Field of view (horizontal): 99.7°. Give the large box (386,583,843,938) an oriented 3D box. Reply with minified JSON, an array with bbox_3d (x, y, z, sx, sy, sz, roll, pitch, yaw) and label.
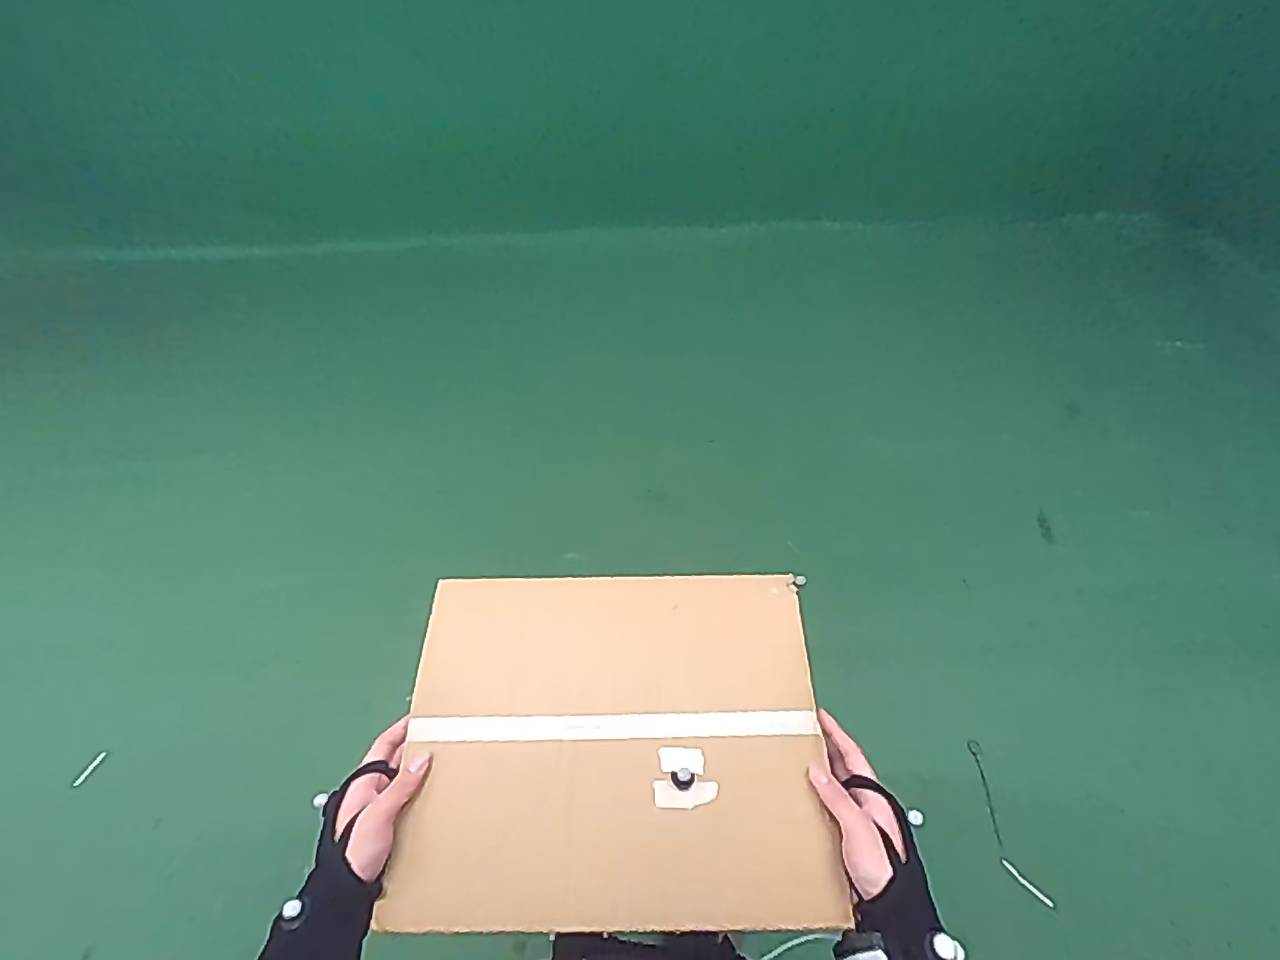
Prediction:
[{"bbox_3d":[-0.025,0.334,0.667,0.408,0.320,0.320,-1,58,0],"label":"large box"}]
